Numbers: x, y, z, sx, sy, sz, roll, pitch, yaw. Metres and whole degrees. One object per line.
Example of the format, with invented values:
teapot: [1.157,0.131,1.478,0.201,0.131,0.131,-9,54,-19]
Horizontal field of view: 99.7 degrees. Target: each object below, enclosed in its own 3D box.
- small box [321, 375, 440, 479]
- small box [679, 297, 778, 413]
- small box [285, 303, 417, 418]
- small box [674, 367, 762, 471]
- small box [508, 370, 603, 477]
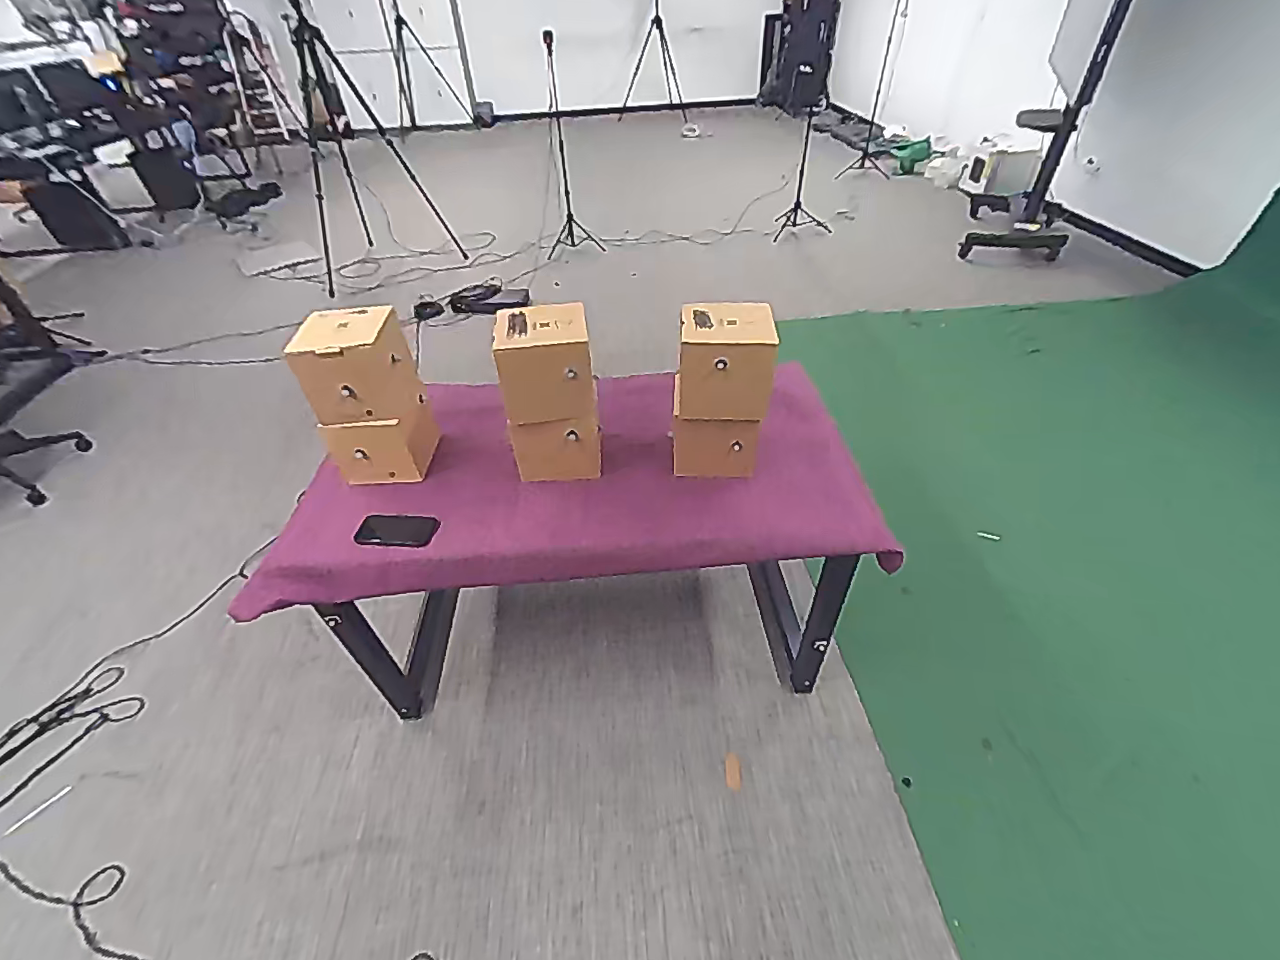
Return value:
small box: [-0.566,-0.113,1.210,0.168,0.176,0.179,-3,42,1]
small box: [0.165,-0.243,1.057,0.179,0.176,0.168,1,42,4]
small box: [-0.575,-0.240,1.105,0.168,0.176,0.179,-6,43,-3]
small box: [0.164,-0.132,1.178,0.179,0.176,0.168,1,42,5]
small box: [-0.175,-0.123,1.191,0.179,0.176,0.168,-4,43,1]
